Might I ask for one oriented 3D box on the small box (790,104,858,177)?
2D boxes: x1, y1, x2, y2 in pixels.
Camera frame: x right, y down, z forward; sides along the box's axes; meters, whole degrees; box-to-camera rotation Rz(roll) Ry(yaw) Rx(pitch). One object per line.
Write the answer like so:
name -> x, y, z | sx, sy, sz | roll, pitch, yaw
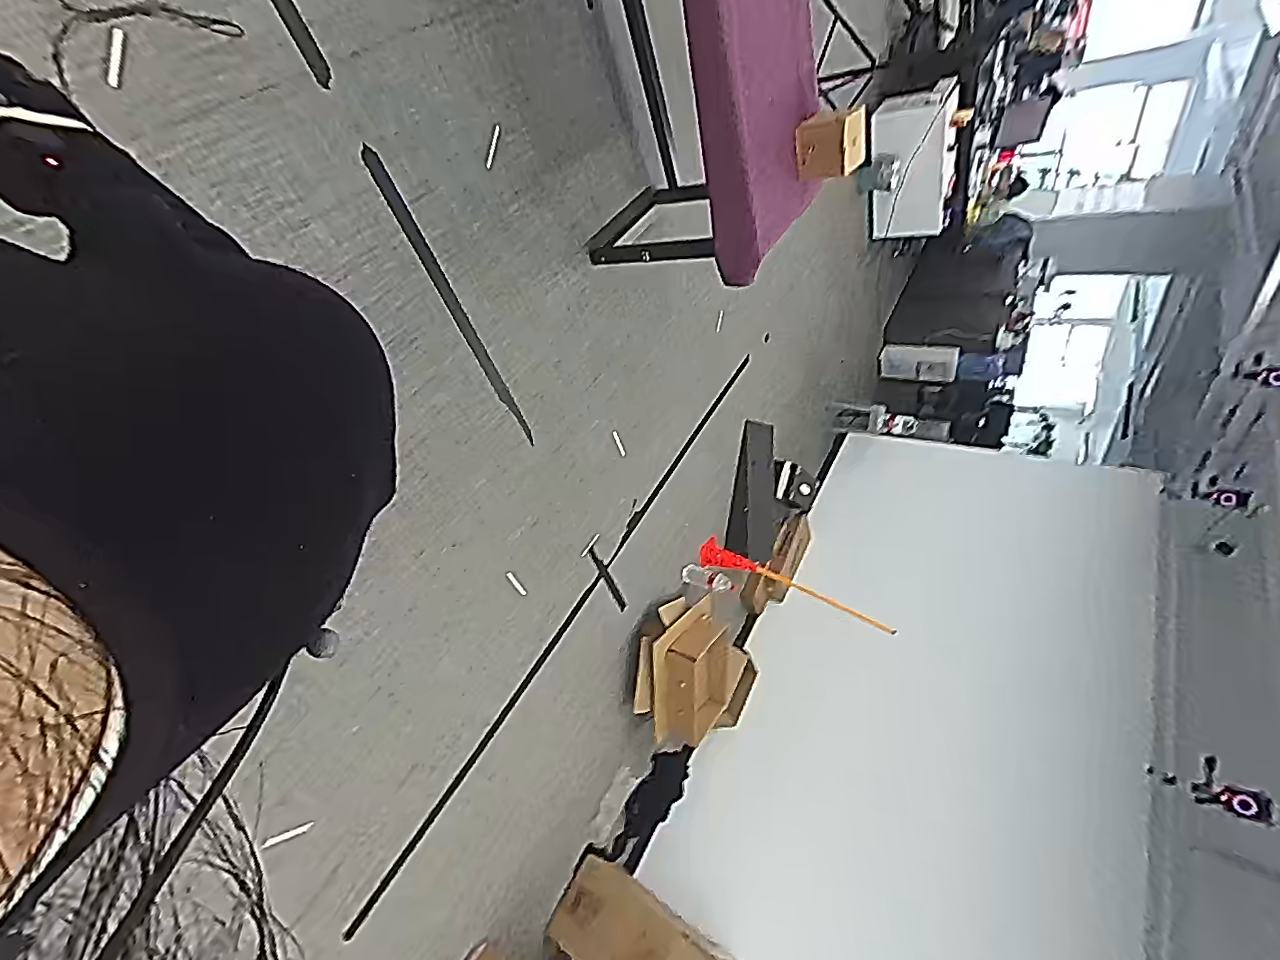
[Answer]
small box -> 0.628, -1.156, 1.845 | 0.179, 0.176, 0.168 | -47, 136, -31
